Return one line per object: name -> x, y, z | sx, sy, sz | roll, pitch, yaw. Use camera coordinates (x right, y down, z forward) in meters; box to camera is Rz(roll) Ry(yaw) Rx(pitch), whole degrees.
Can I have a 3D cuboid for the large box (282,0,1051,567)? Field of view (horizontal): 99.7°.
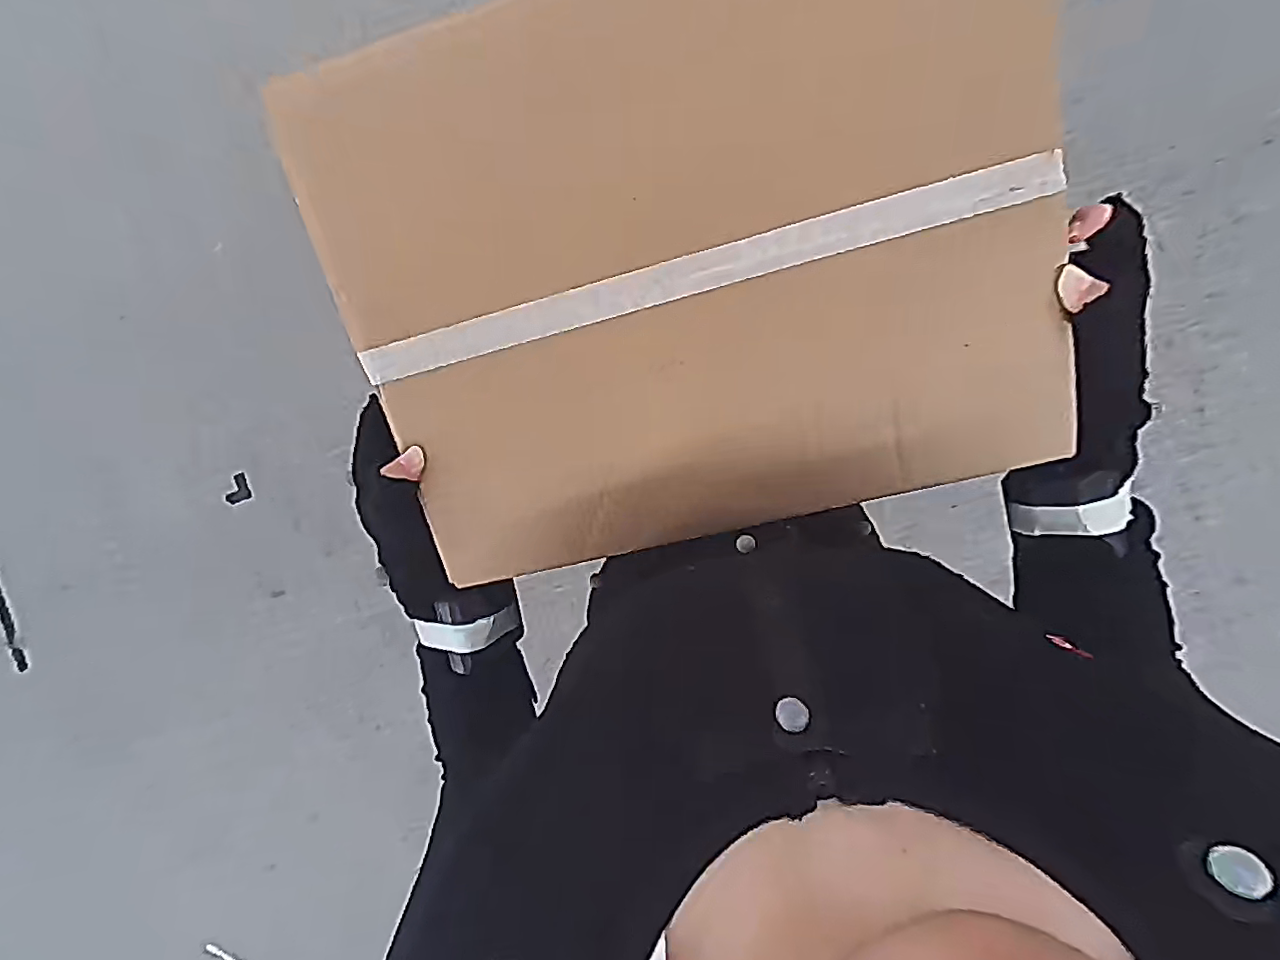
large box -> 0.031, -0.166, 0.461 | 0.408, 0.320, 0.320 | -13, 106, 7
